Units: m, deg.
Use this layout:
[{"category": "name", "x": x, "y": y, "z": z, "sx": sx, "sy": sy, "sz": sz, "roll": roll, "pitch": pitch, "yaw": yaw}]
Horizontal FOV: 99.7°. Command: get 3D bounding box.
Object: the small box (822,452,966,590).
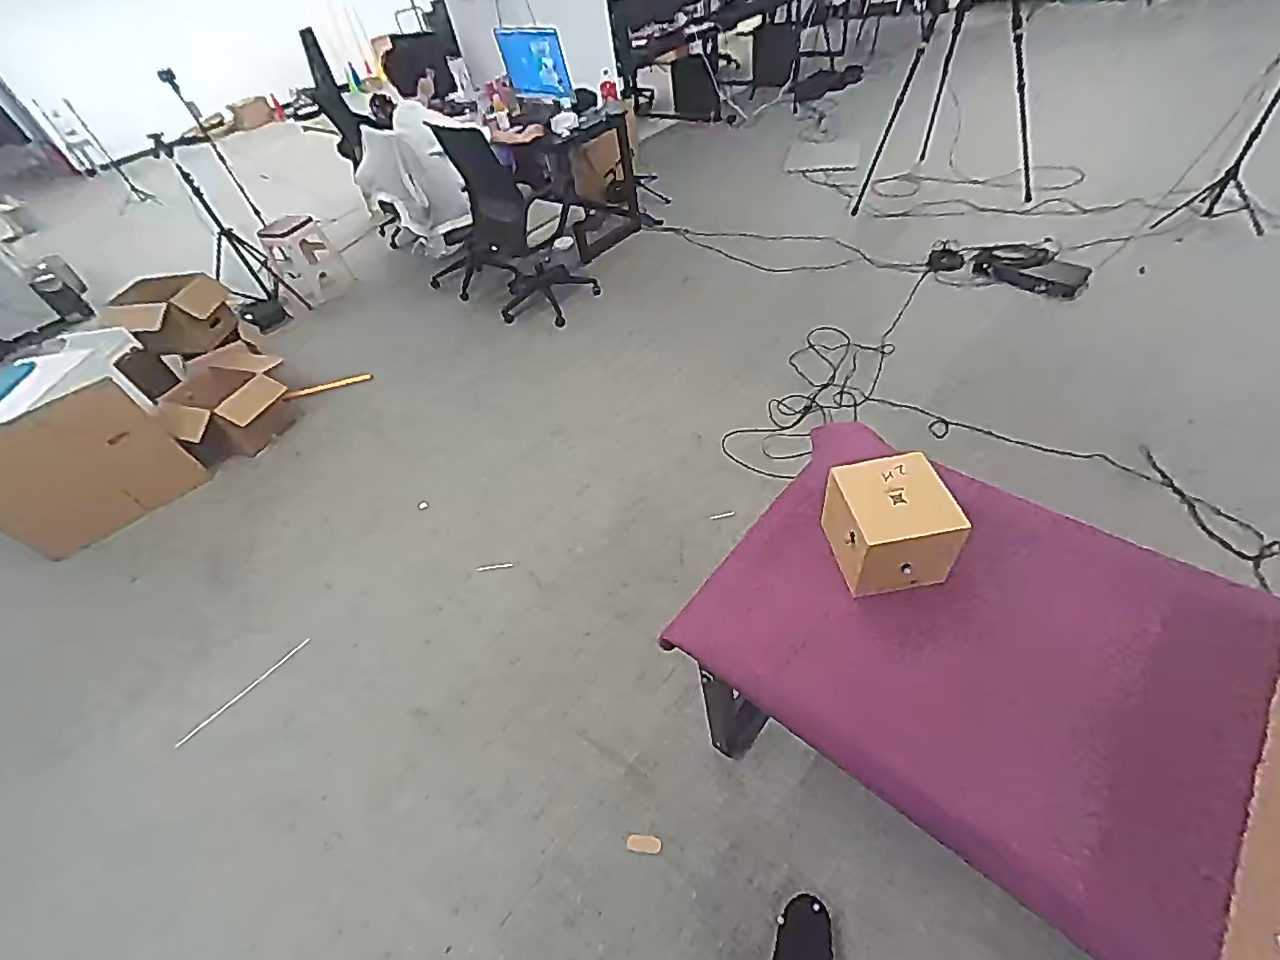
[{"category": "small box", "x": 0.437, "y": 0.080, "z": 0.964, "sx": 0.168, "sy": 0.176, "sz": 0.179, "roll": -10, "pitch": 47, "yaw": 2}]
